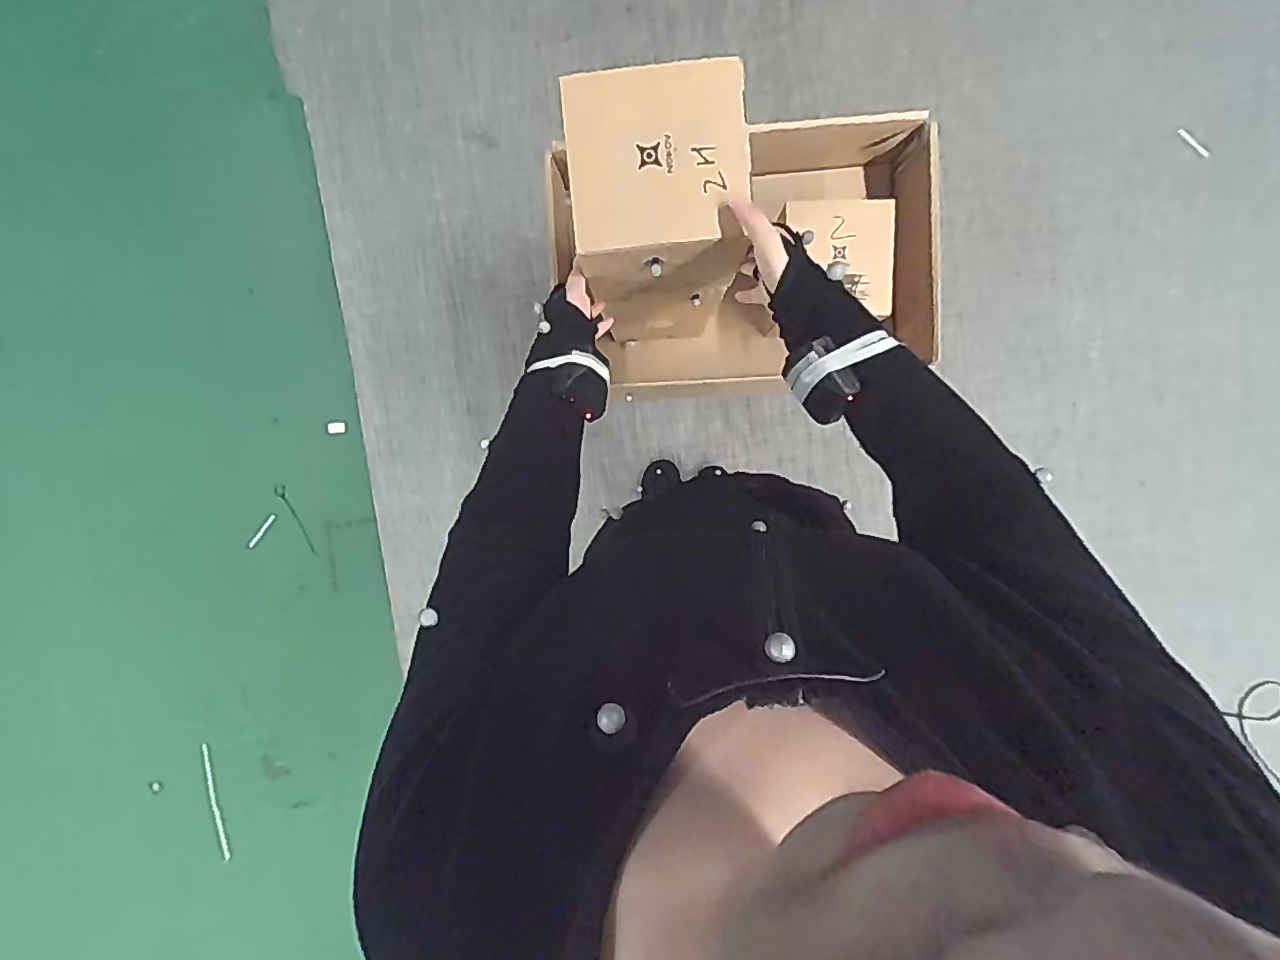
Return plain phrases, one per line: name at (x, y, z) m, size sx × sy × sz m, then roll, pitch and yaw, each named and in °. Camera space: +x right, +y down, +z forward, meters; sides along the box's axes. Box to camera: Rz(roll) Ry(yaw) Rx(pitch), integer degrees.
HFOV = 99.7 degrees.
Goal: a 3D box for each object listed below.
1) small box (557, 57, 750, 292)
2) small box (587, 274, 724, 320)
small box at (0.015, -0.313, 0.592) m, size 0.179 × 0.176 × 0.168 m, roll -5°, pitch 94°, yaw 0°
small box at (0.016, -0.328, 0.756) m, size 0.179 × 0.176 × 0.168 m, roll -4°, pitch 94°, yaw 0°
